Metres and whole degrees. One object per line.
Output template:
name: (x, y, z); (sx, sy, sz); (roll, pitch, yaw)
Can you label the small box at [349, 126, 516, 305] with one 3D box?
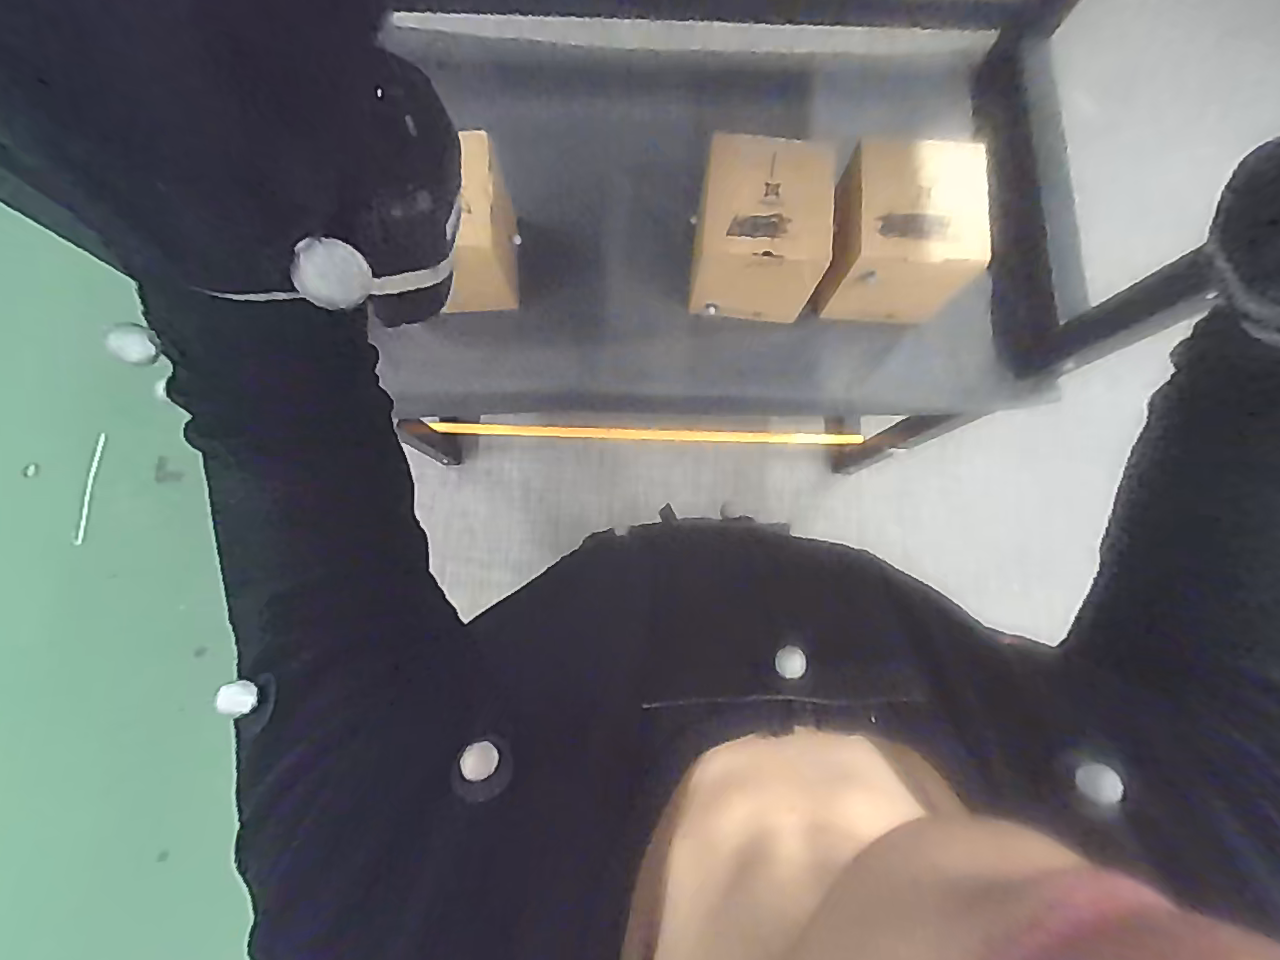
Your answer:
small box: (-0.282, -0.362, 0.767); (0.179, 0.176, 0.168); (-3, 81, -2)
